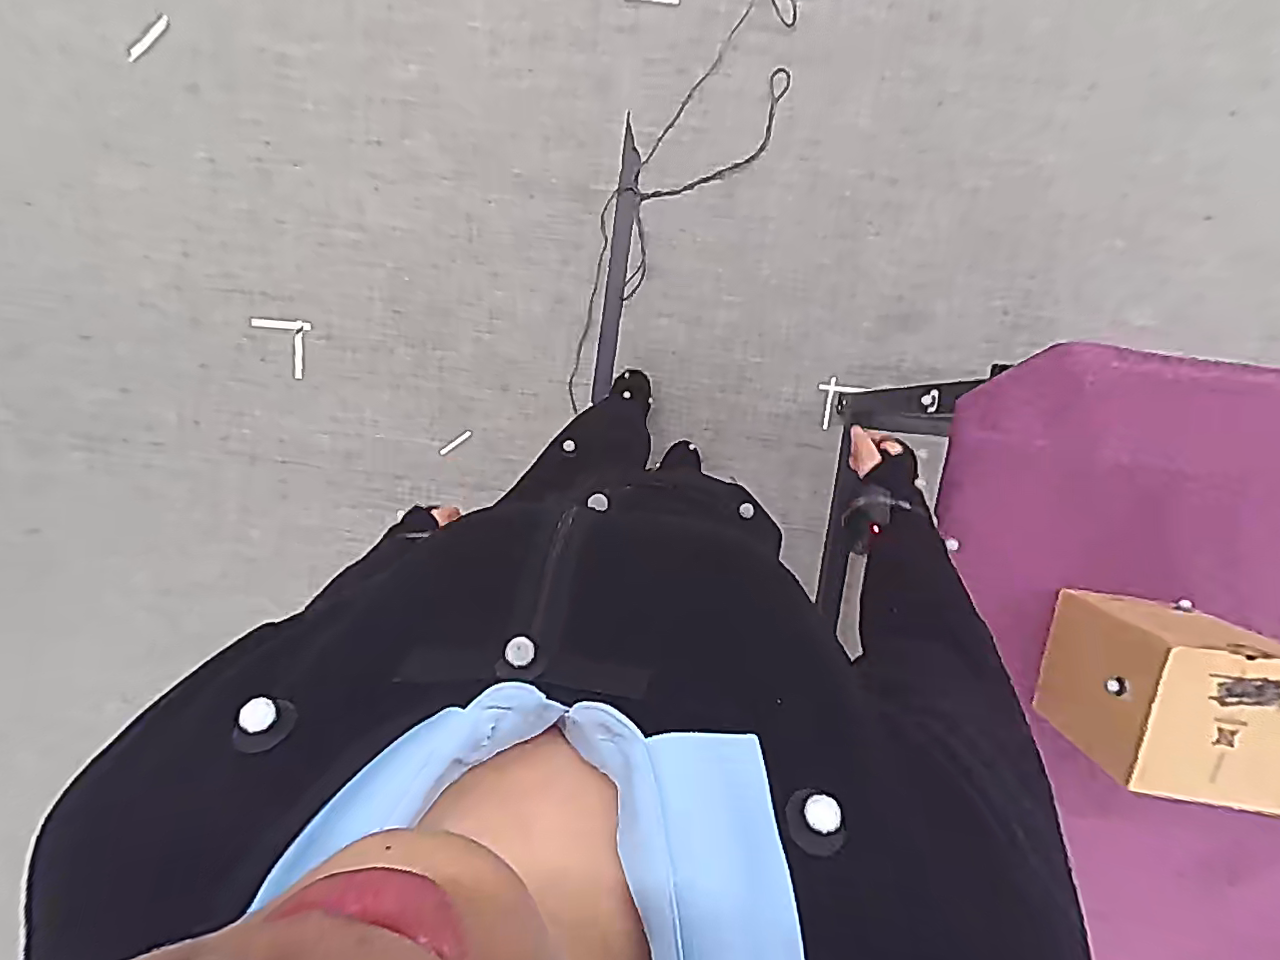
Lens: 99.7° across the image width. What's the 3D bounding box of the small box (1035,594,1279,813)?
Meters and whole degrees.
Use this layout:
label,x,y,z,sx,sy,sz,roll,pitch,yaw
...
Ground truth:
label,x,y,z,sx,sy,sz,roll,pitch,yaw
small box,0.625,0.253,0.653,0.168,0.176,0.179,8,99,3
